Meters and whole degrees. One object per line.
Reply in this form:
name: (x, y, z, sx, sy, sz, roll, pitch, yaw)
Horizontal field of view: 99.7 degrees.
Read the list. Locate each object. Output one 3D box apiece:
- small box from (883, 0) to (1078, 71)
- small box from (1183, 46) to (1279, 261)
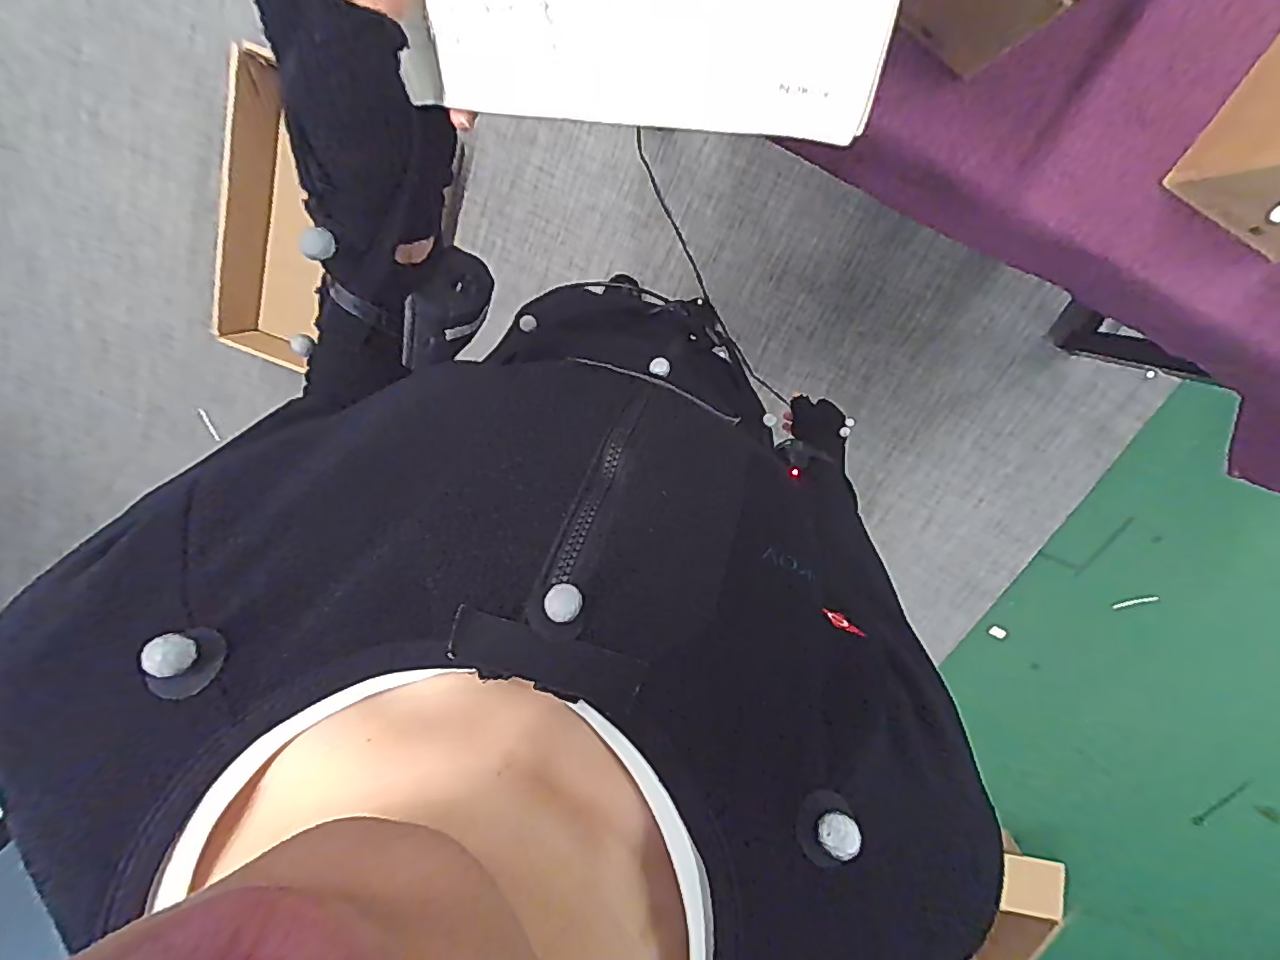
small box: (0.306, -0.486, 0.436, 0.168, 0.176, 0.179, 32, 109, -9)
small box: (0.660, -0.312, 0.482, 0.168, 0.176, 0.179, 28, 111, -7)
